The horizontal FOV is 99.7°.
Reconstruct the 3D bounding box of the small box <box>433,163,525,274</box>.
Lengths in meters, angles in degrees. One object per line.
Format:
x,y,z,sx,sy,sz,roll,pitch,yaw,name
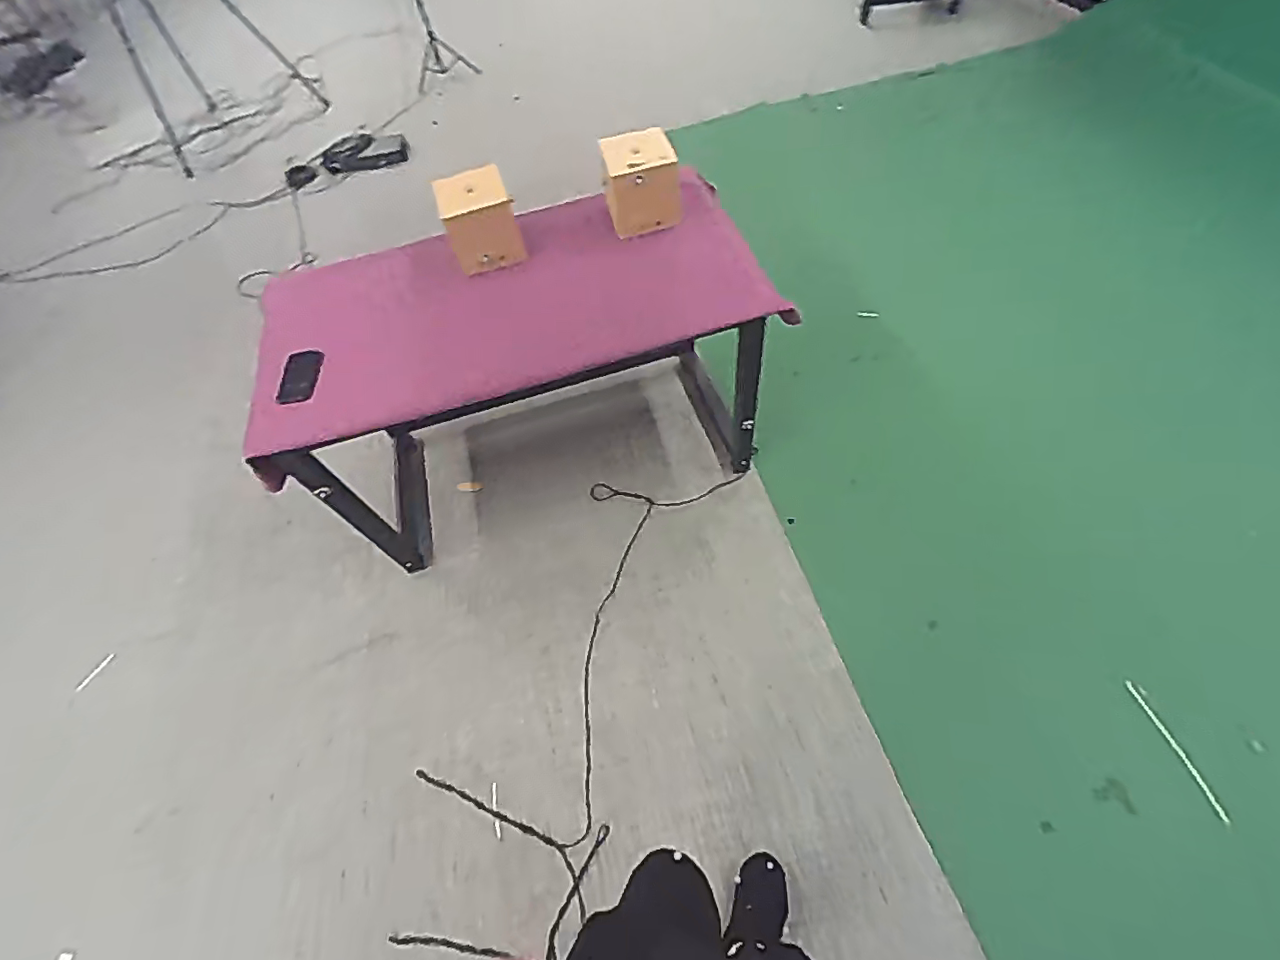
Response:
-0.402,-0.654,1.363,0.168,0.176,0.179,-18,59,-3,small box

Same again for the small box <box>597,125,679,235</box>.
-0.004,-0.758,1.373,0.168,0.176,0.179,-15,57,-1,small box
